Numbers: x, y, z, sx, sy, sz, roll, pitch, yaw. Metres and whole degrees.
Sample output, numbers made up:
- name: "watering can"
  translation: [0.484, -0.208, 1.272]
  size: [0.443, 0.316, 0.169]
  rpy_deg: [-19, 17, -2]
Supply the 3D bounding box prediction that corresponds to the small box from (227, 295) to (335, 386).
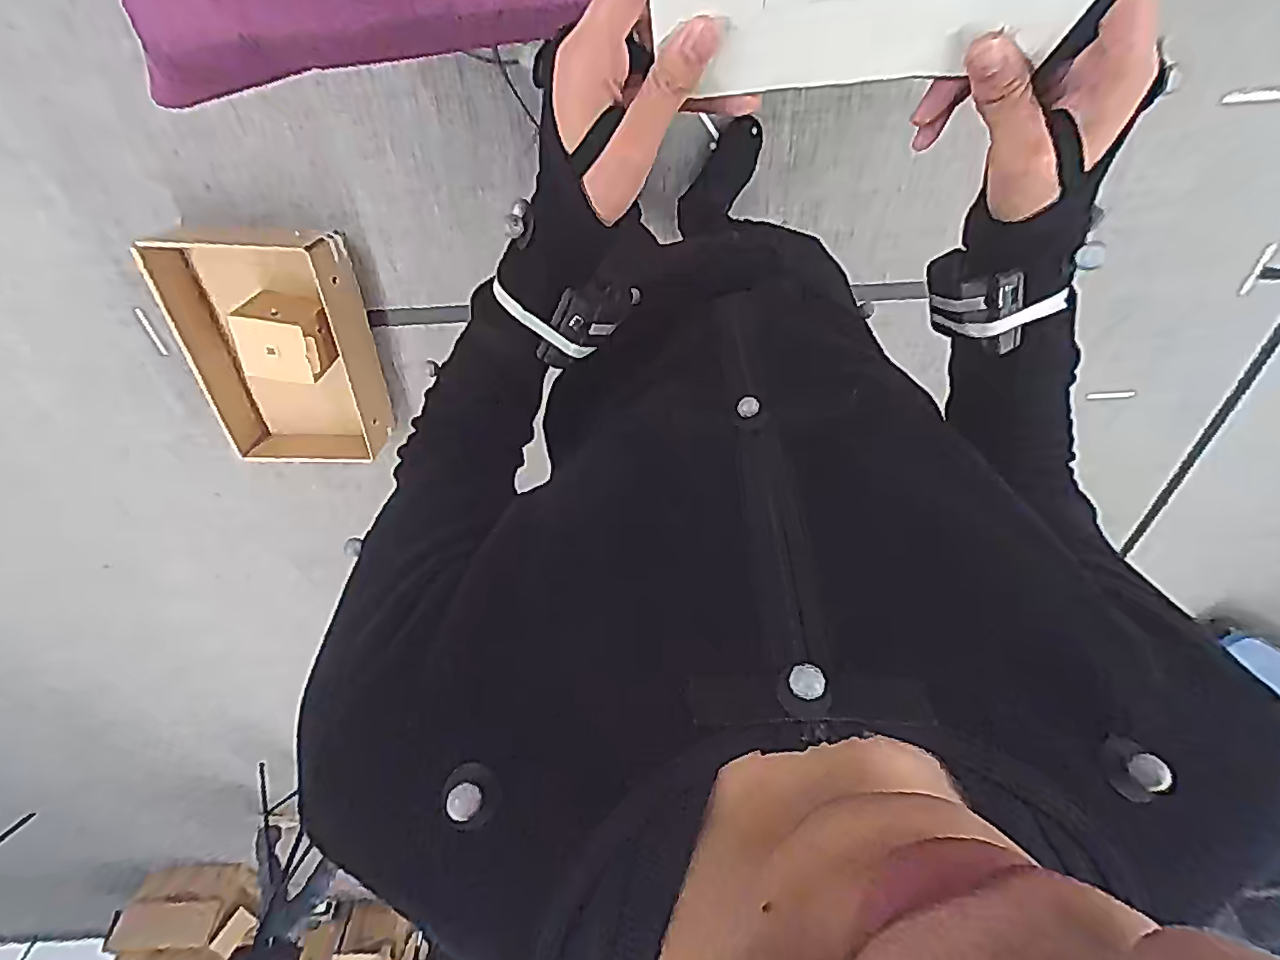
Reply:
- name: "small box"
  translation: [-0.924, -0.369, 1.415]
  size: [0.179, 0.176, 0.168]
  rpy_deg: [7, 128, -8]
